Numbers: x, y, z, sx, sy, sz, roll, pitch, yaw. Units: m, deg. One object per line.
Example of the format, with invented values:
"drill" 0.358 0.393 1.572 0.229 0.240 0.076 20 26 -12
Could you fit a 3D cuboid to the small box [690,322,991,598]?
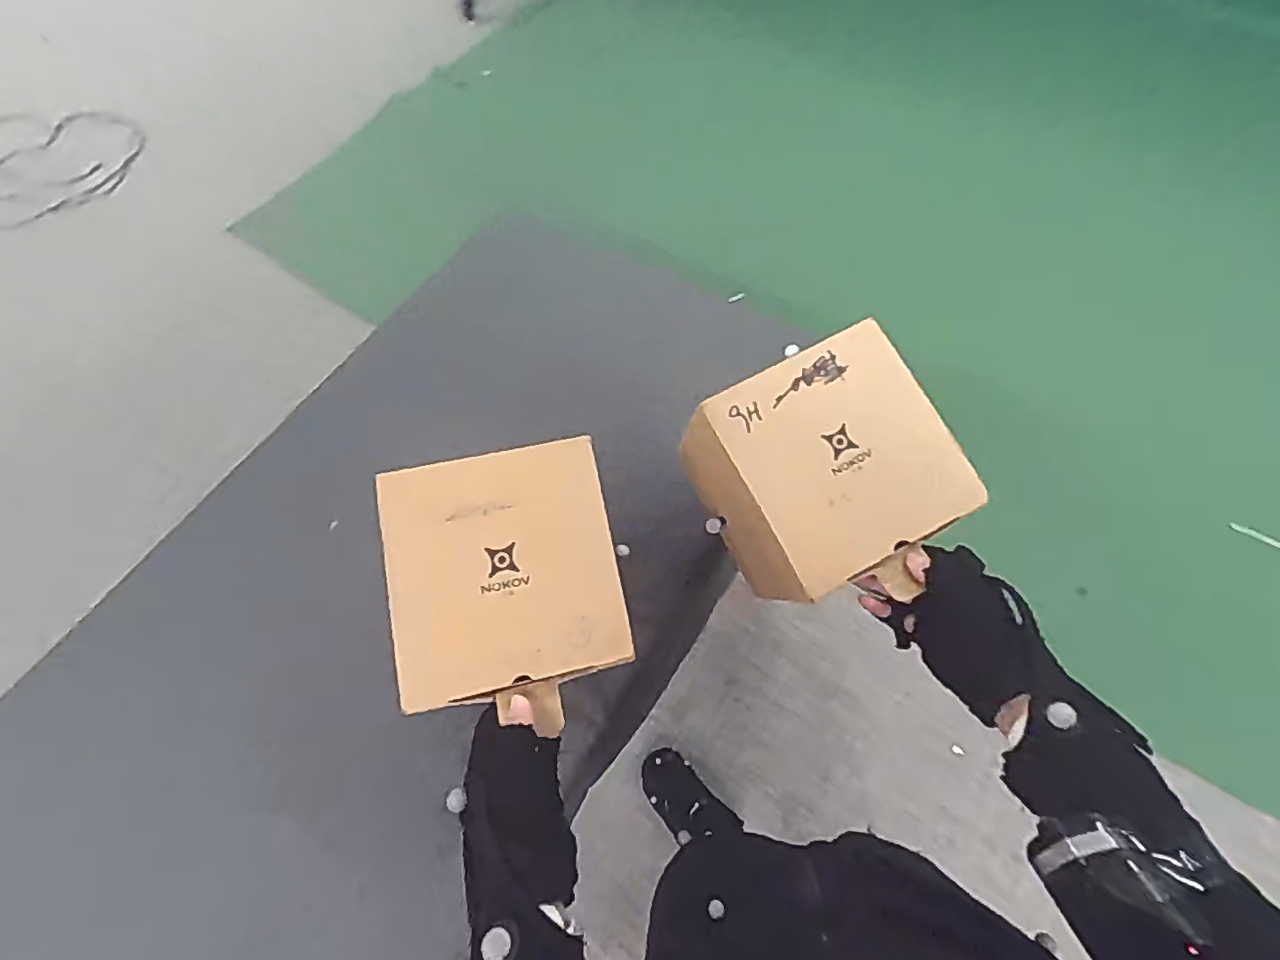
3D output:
"small box" 0.163 -0.009 0.503 0.168 0.176 0.179 -26 84 -8
